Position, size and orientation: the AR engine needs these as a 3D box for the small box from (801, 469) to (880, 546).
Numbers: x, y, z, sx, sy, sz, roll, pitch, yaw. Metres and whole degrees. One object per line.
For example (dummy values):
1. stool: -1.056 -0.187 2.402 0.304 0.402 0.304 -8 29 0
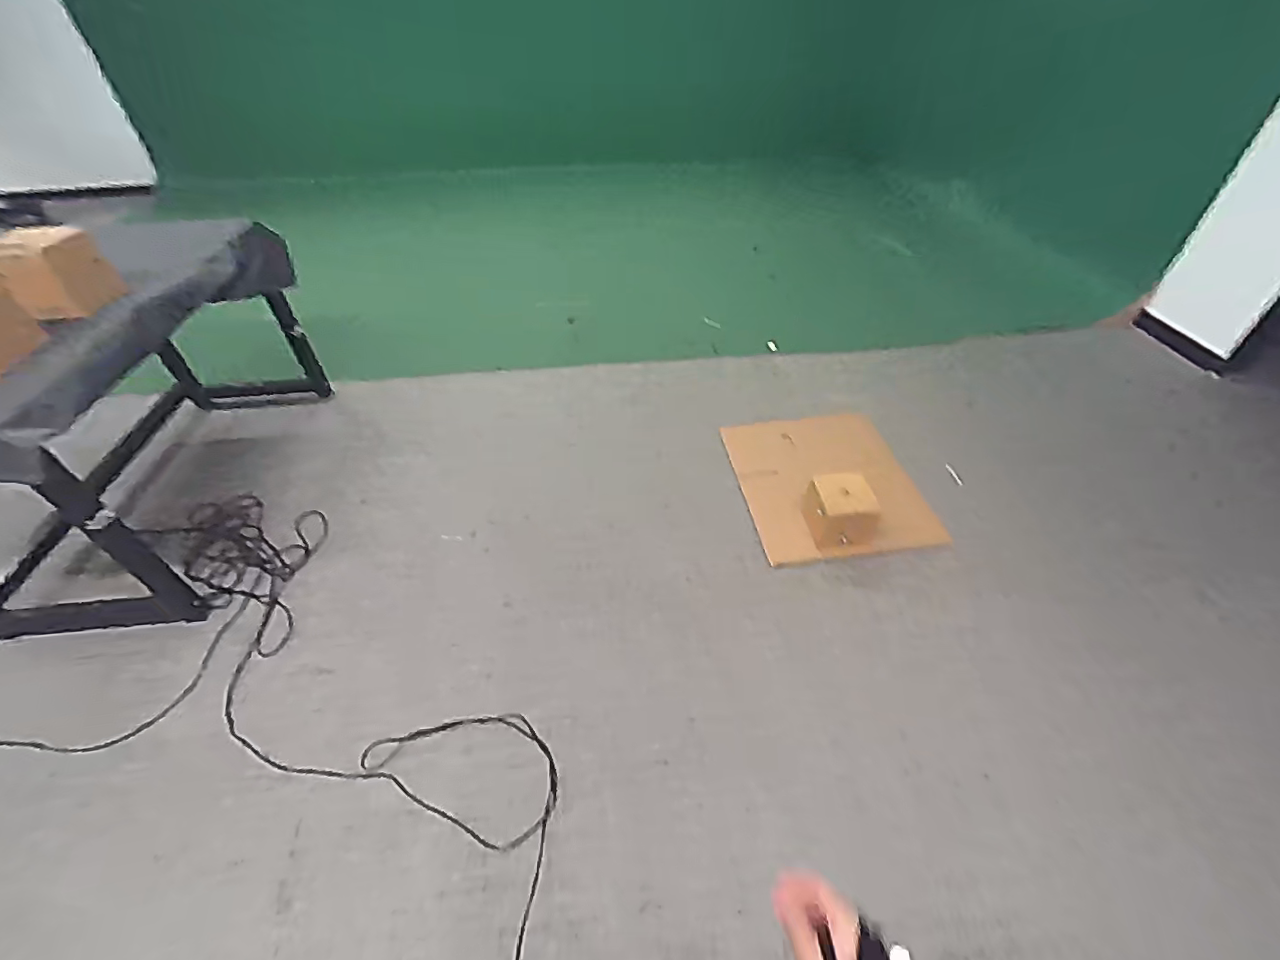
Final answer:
1. small box: 0.627 0.087 1.715 0.168 0.176 0.179 -5 45 -4

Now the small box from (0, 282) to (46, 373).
1. small box: -1.504 -0.337 1.196 0.168 0.176 0.179 -5 43 -4
